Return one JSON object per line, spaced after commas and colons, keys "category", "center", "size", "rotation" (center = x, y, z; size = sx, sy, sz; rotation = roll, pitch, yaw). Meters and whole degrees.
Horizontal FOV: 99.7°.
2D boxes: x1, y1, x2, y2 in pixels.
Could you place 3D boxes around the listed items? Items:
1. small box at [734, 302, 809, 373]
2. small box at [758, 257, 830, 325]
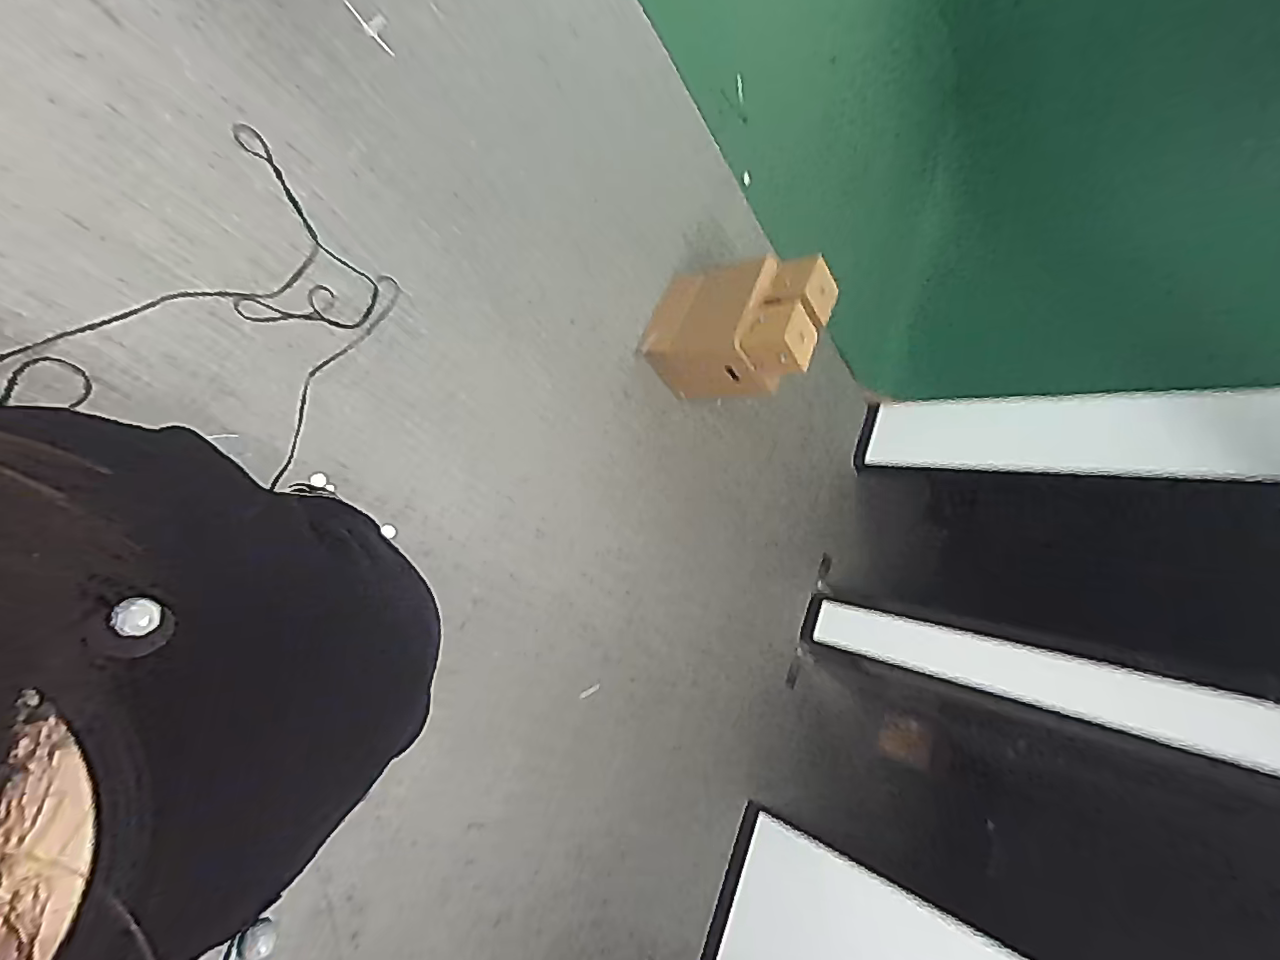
{"category": "small box", "center": [0.452, -0.482, 1.857], "size": [0.179, 0.176, 0.168], "rotation": [41, 64, -40]}
{"category": "small box", "center": [0.551, -0.664, 1.941], "size": [0.179, 0.176, 0.168], "rotation": [40, 68, -40]}
